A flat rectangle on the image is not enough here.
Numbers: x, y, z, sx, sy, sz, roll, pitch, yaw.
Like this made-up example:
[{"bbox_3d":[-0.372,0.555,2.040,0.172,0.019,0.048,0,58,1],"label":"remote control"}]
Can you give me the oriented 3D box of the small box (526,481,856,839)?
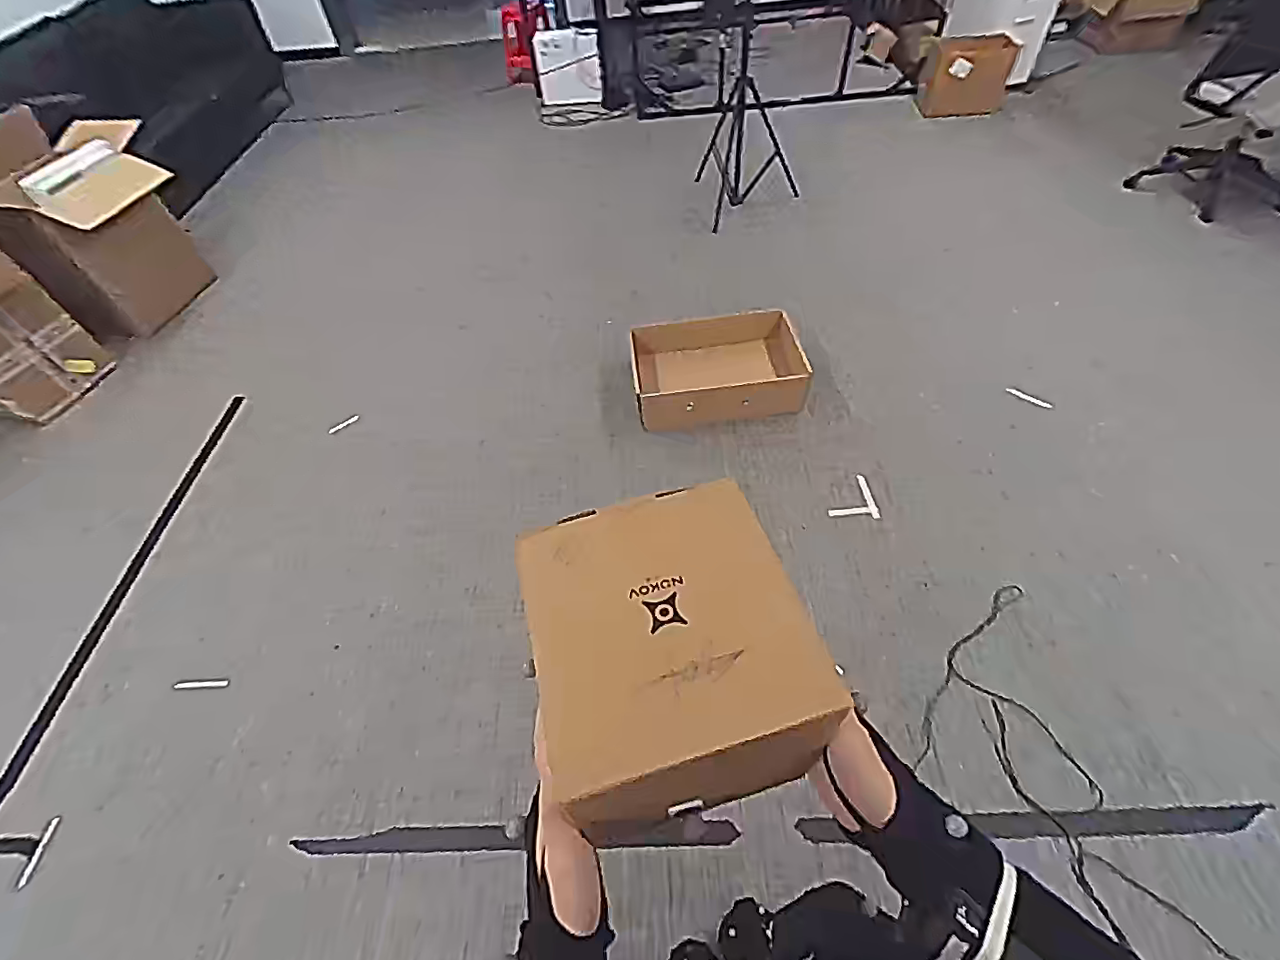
[{"bbox_3d":[0.023,0.133,0.399,0.168,0.176,0.179,-15,51,-8],"label":"small box"}]
